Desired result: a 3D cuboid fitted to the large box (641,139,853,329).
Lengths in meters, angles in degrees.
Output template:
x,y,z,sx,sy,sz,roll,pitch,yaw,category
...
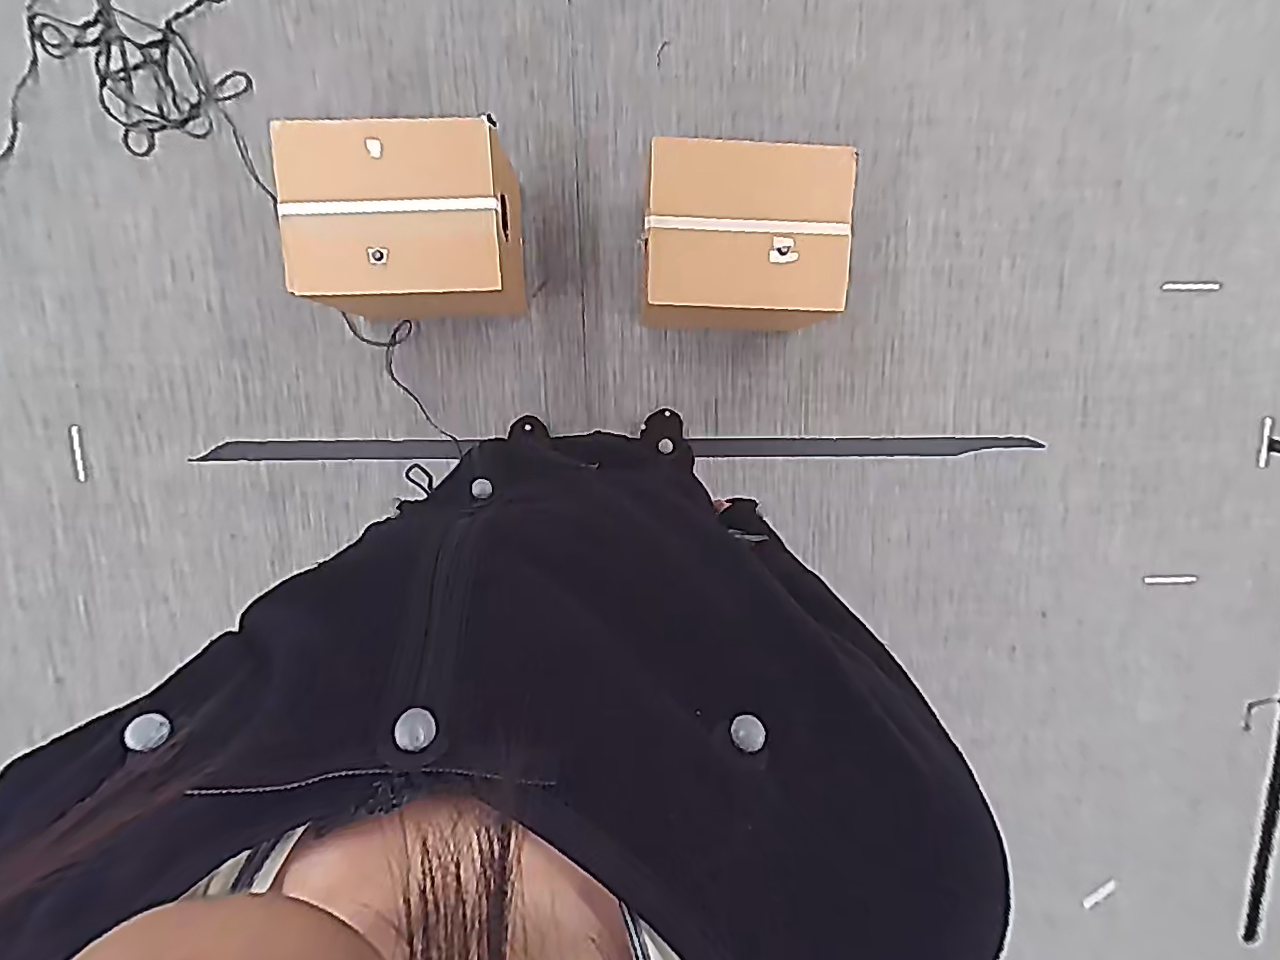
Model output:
x,y,z,sx,sy,sz,roll,pitch,yaw,category
0.210,-0.523,1.220,0.408,0.320,0.320,1,98,-4,large box
